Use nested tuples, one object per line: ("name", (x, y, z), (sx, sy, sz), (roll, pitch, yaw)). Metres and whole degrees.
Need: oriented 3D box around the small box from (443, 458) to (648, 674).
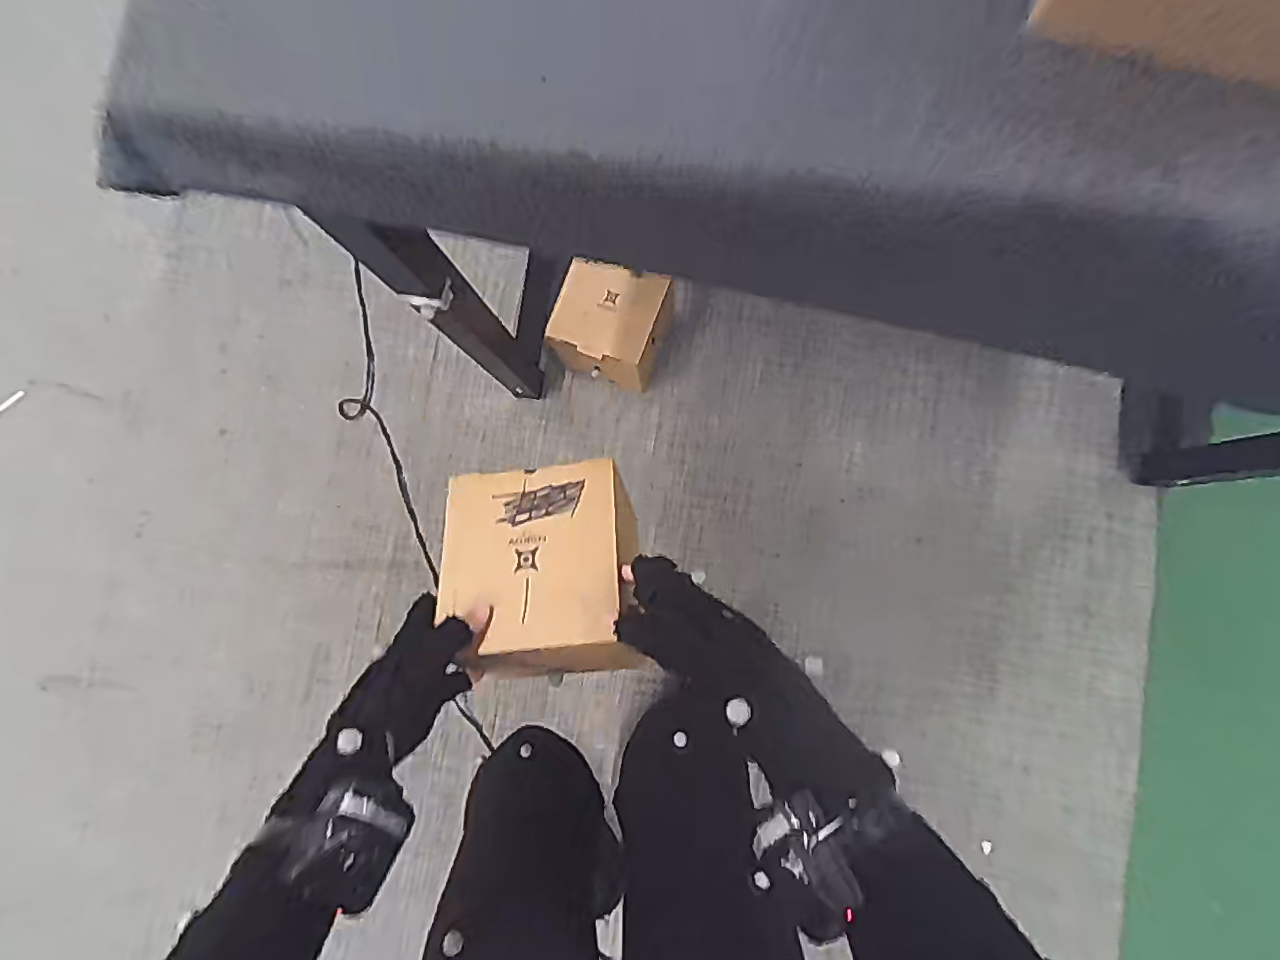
("small box", (-0.085, 0.098, 0.572), (0.168, 0.176, 0.179), (-7, 63, 5))
